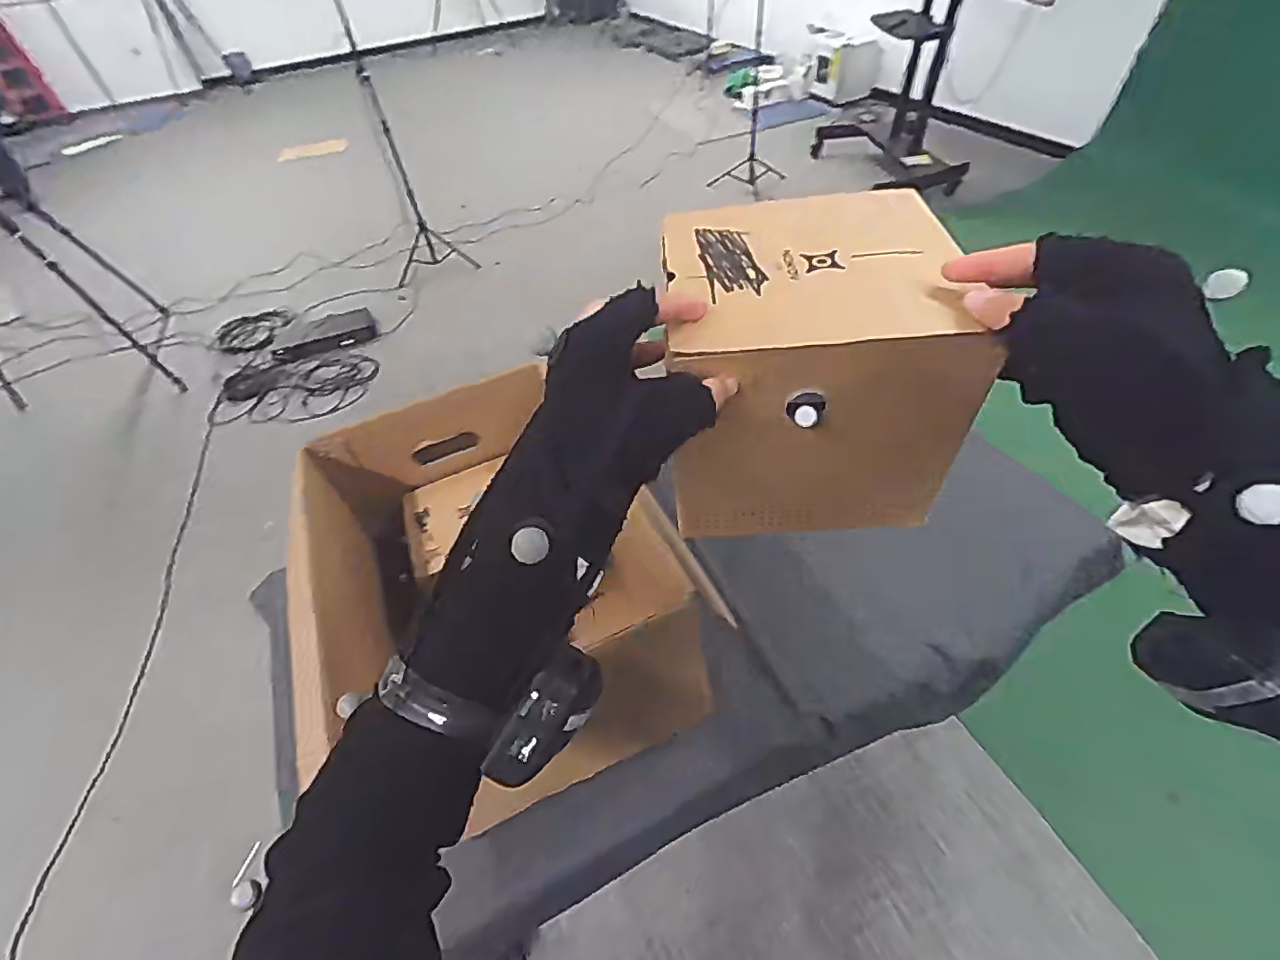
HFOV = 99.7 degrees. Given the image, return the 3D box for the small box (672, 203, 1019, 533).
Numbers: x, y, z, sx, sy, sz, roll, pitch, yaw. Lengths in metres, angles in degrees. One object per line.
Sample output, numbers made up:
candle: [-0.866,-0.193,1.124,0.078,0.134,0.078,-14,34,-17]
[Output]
small box: [0.117,-0.073,0.391,0.179,0.176,0.168,-3,50,5]
